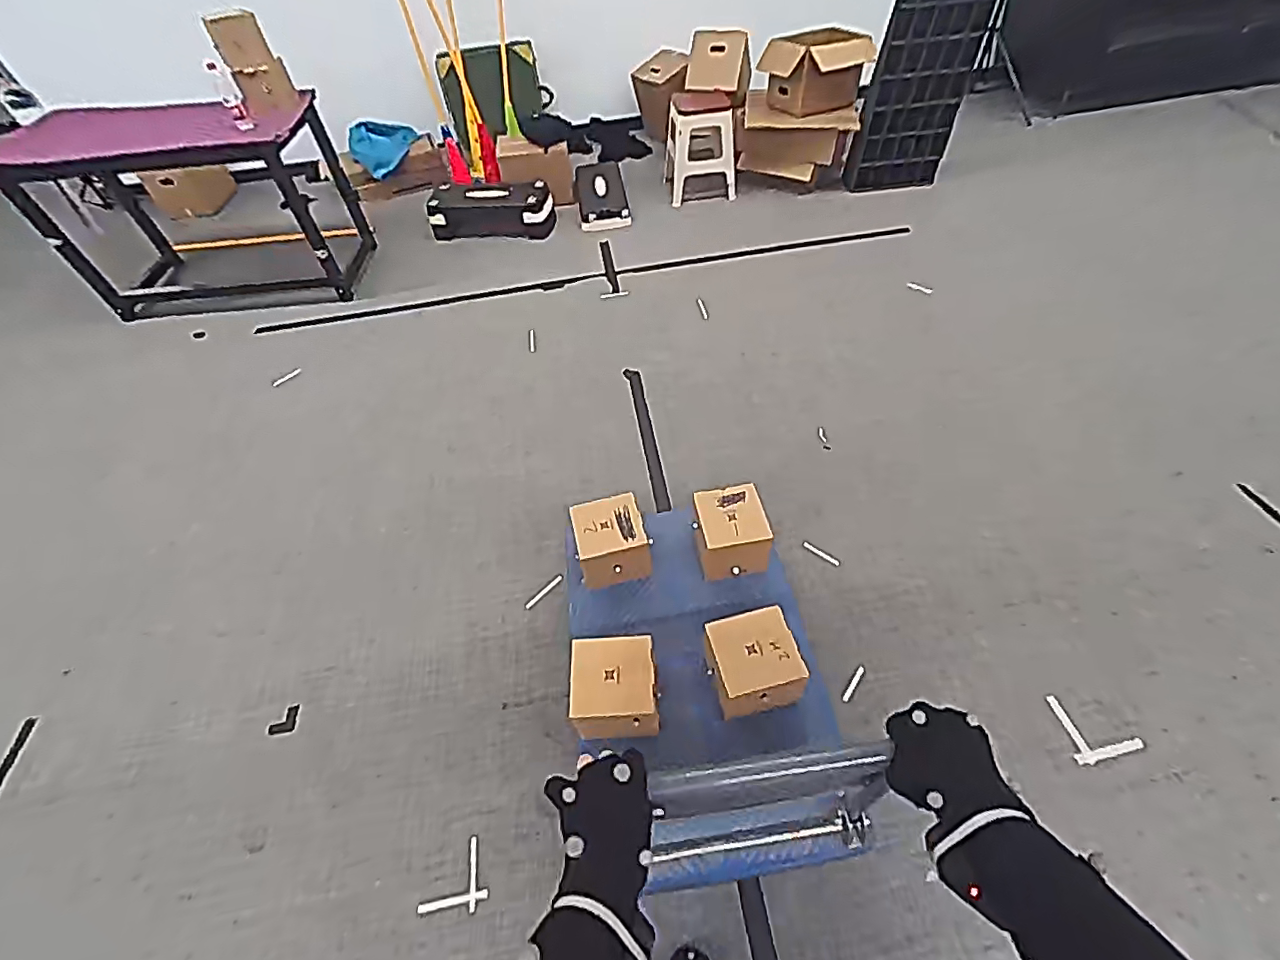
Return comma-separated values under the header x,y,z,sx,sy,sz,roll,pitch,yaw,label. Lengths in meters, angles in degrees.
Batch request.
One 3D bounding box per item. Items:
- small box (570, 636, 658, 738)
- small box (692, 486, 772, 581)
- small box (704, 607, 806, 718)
x,y,z,sx,sy,sz,roll,pitch,yaw,label
-0.053,0.463,1.202,0.179,0.176,0.168,-4,51,1,small box
0.235,0.143,1.434,0.168,0.176,0.179,-10,52,-3,small box
0.249,0.413,1.213,0.179,0.176,0.168,-13,51,-5,small box
